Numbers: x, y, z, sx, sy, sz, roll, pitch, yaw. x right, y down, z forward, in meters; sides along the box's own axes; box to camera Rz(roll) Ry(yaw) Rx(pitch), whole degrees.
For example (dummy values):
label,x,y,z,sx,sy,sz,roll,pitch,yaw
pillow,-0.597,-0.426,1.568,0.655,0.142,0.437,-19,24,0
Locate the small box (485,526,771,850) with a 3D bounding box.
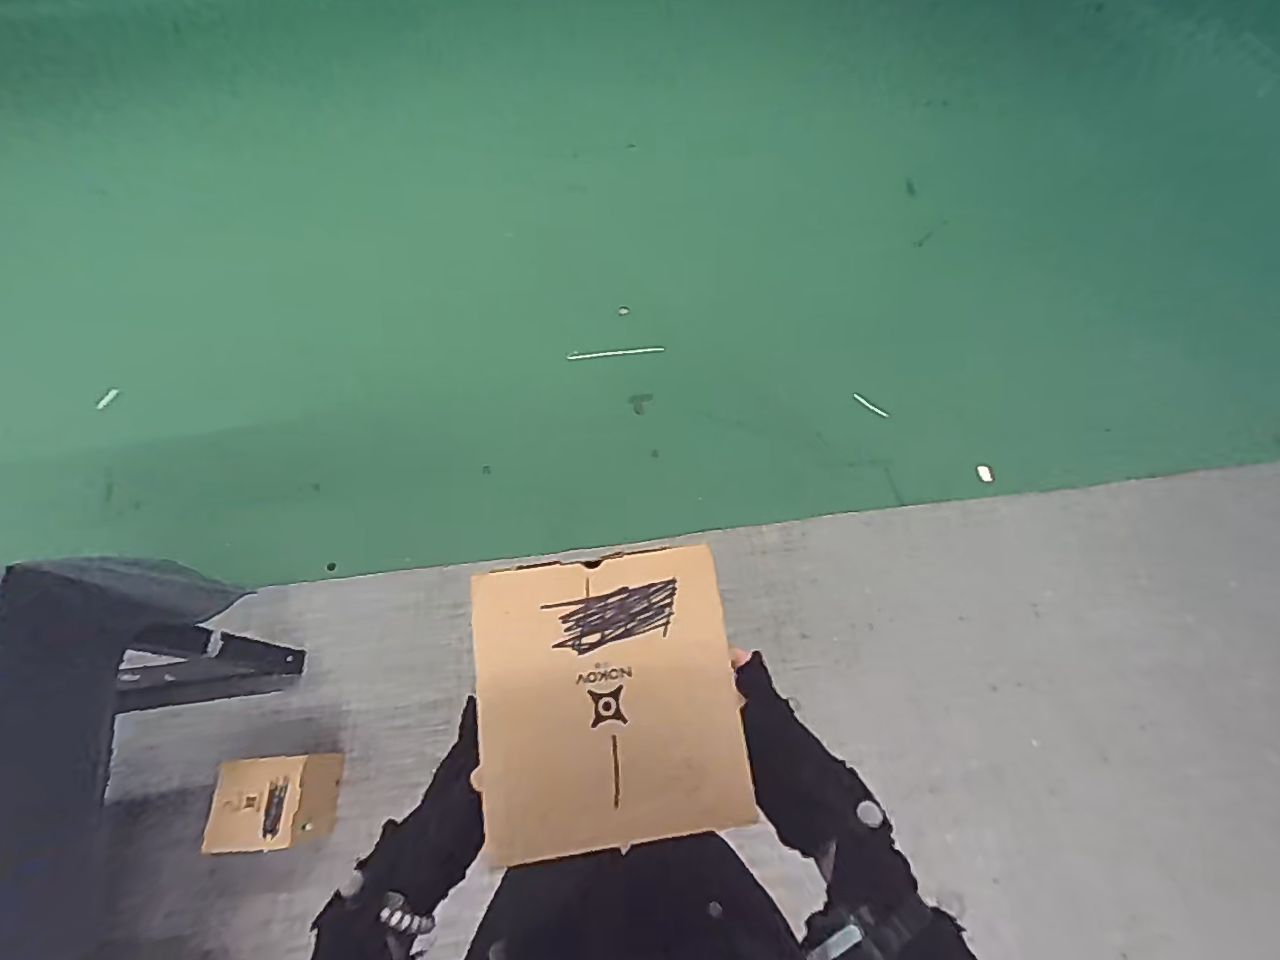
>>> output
label,x,y,z,sx,sy,sz,roll,pitch,yaw
small box,-0.017,0.146,0.417,0.168,0.176,0.179,-7,74,-5
